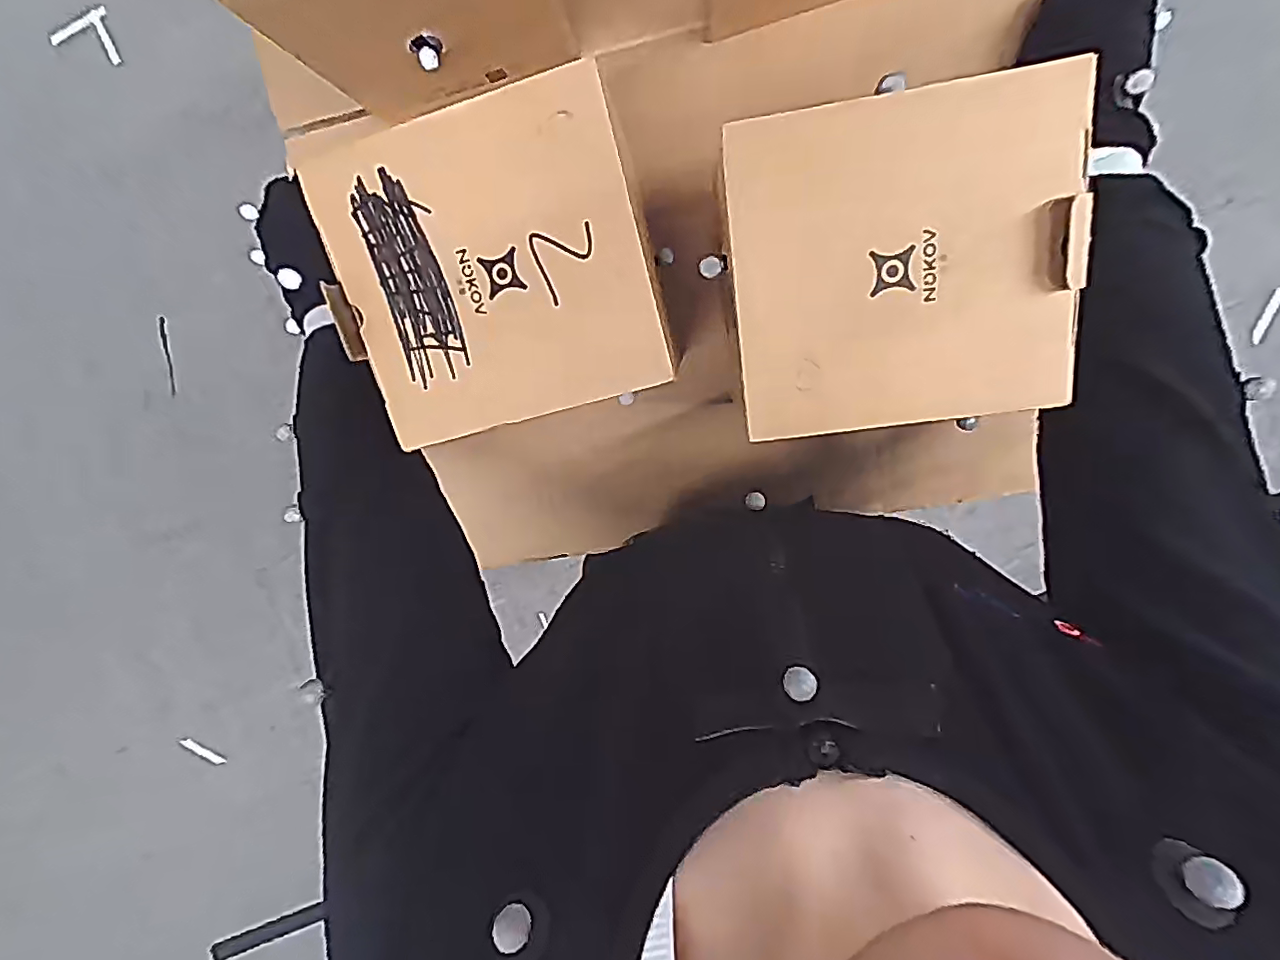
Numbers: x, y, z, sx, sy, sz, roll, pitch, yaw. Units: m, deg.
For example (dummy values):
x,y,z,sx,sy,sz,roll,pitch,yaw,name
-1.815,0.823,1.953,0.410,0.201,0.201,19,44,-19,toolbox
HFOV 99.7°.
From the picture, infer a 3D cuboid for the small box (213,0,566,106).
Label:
x,y,z,sx,sy,sz,roll,pitch,yaw,name
-0.155,-0.364,0.330,0.168,0.176,0.179,-10,102,8,small box
